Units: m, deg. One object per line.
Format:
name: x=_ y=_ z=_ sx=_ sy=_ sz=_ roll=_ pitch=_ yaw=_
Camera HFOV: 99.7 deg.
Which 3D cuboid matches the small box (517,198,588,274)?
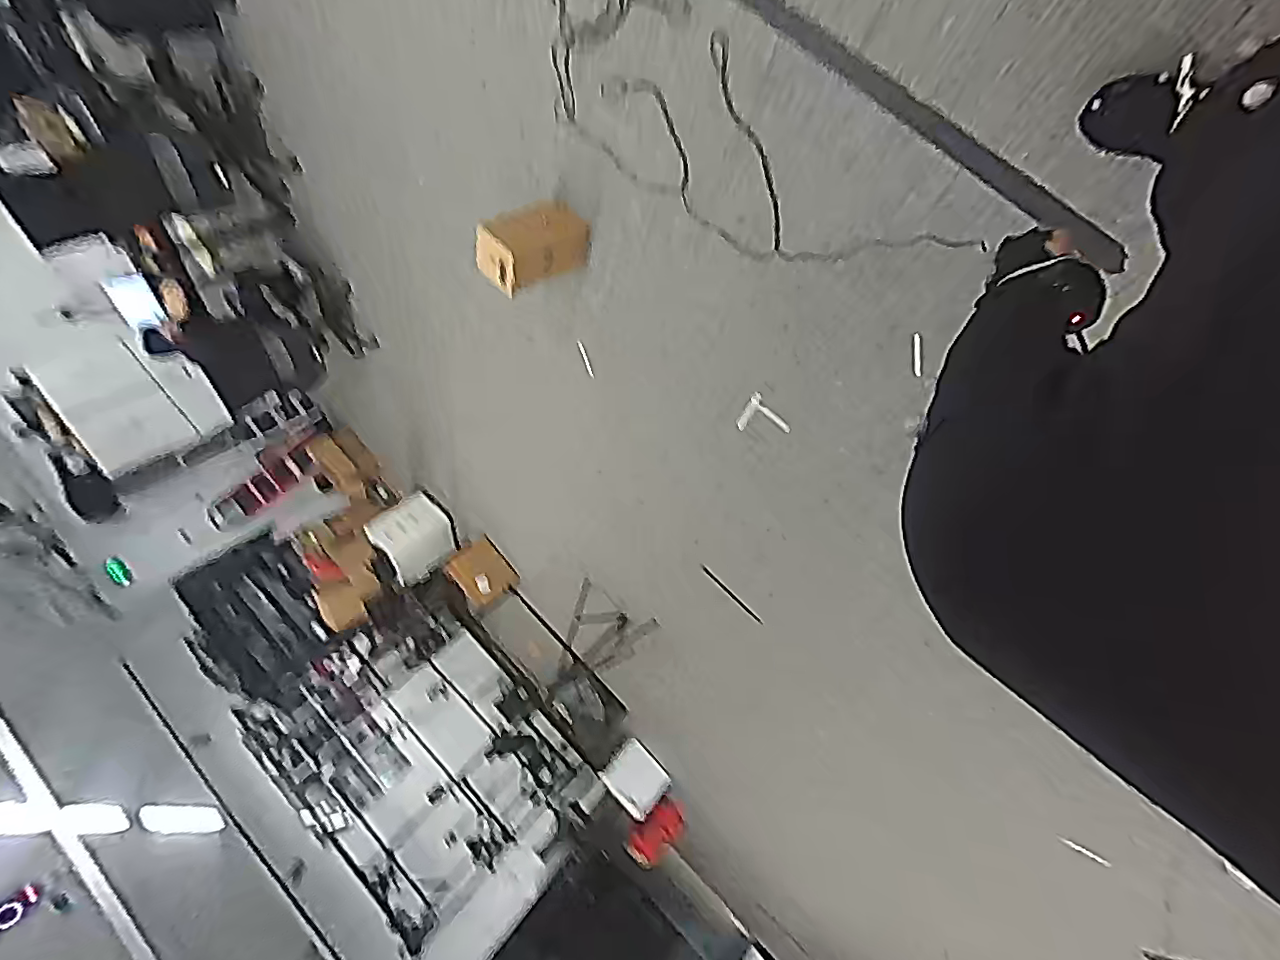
small box: x=-0.309 y=-0.859 z=1.885 sx=0.179 sy=0.176 sz=0.168 roll=40 pitch=146 yaw=15
